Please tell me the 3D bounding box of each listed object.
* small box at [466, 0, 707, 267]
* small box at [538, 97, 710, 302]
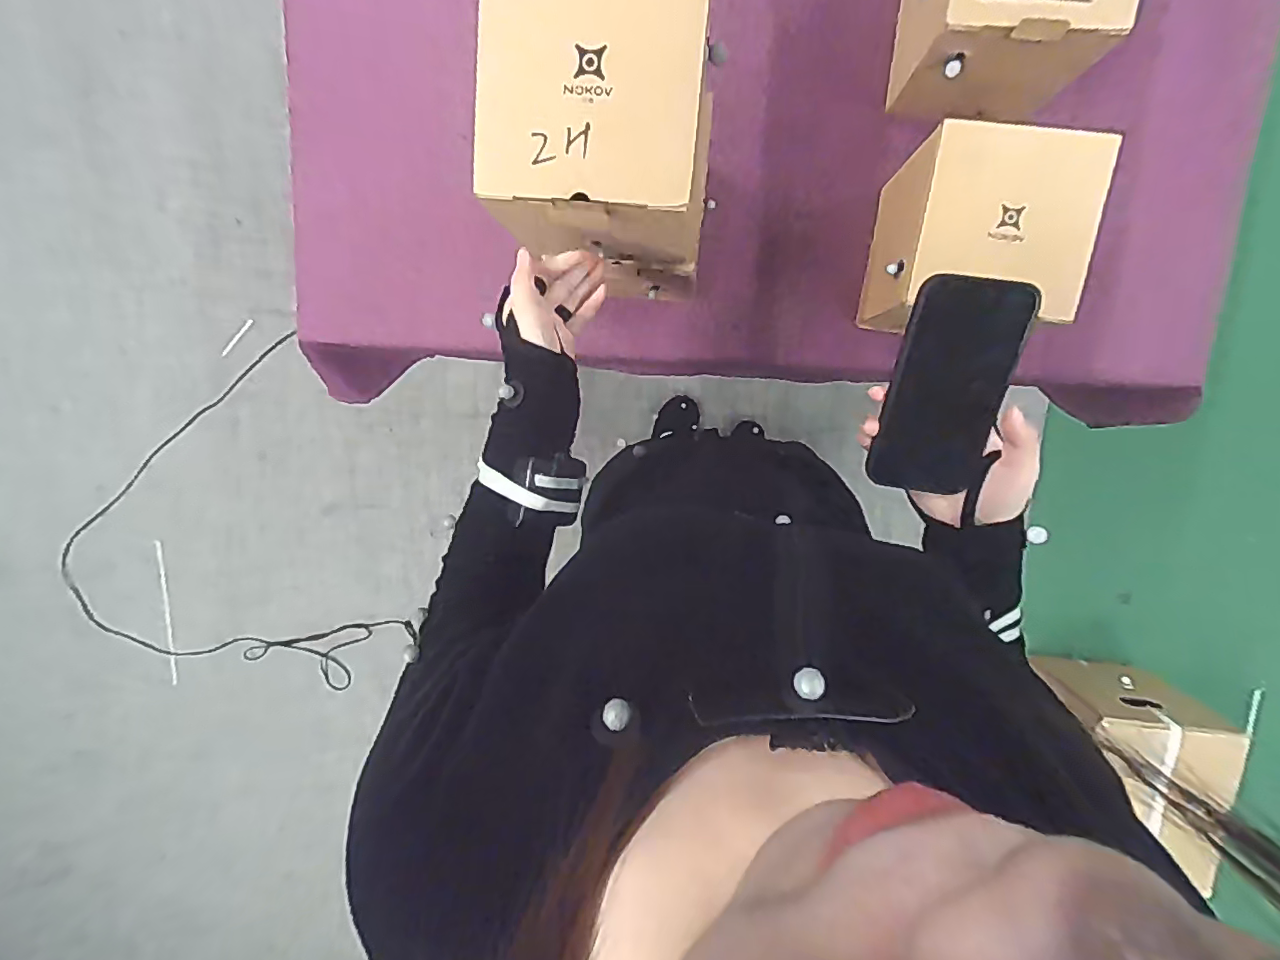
[{"bbox_3d":[-0.036,-0.303,0.470,0.168,0.176,0.179,6,99,4],"label":"small box"},{"bbox_3d":[-0.012,-0.316,0.634,0.168,0.176,0.179,7,98,4],"label":"small box"}]
